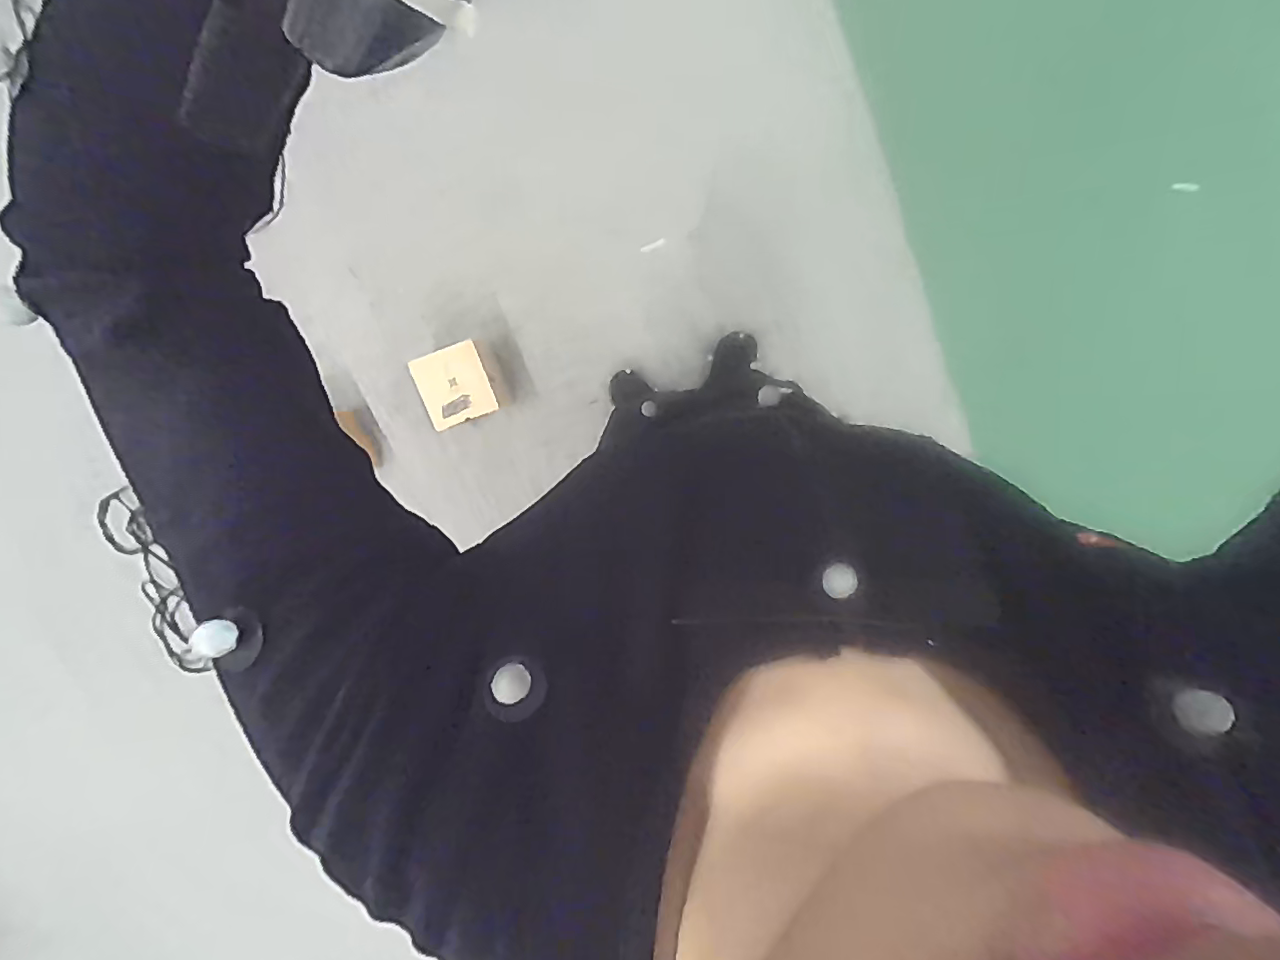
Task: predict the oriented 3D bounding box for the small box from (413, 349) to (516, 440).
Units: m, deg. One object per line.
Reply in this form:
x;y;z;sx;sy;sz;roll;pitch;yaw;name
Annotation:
-0.428;-0.216;1.350;0.168;0.176;0.179;-19;100;3;small box
